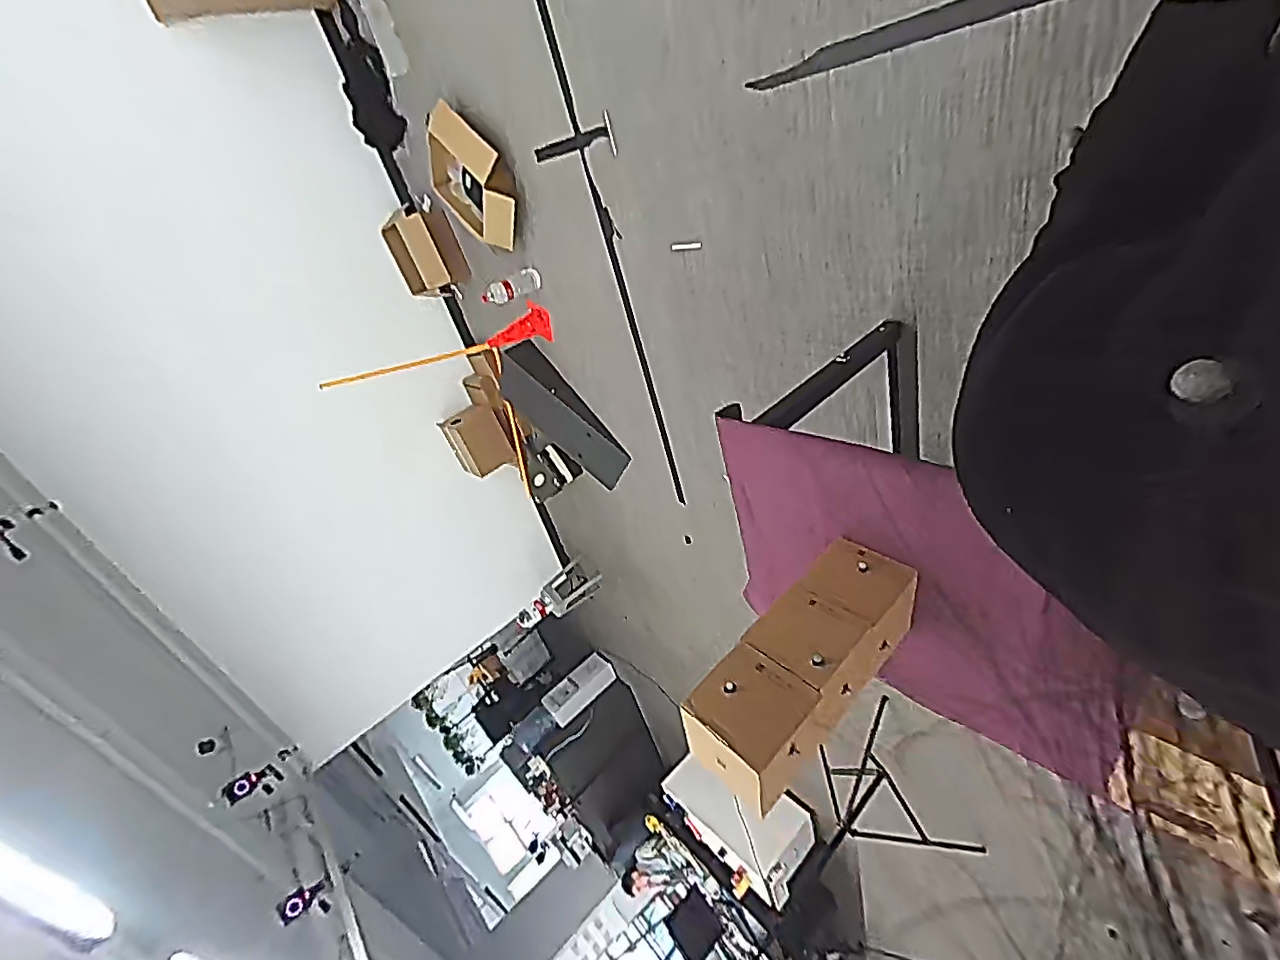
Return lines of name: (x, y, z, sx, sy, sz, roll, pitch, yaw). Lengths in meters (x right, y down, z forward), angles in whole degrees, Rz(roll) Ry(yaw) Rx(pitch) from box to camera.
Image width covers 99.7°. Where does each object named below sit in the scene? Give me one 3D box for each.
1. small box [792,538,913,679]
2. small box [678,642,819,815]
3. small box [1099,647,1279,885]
small box: (0.424, 0.250, 1.082, 0.168, 0.176, 0.179, 26, 141, 41)
small box: (0.190, 0.415, 0.925, 0.168, 0.176, 0.179, 29, 144, 41)
small box: (0.744, 0.359, 0.703, 0.168, 0.176, 0.179, 23, 138, 45)
